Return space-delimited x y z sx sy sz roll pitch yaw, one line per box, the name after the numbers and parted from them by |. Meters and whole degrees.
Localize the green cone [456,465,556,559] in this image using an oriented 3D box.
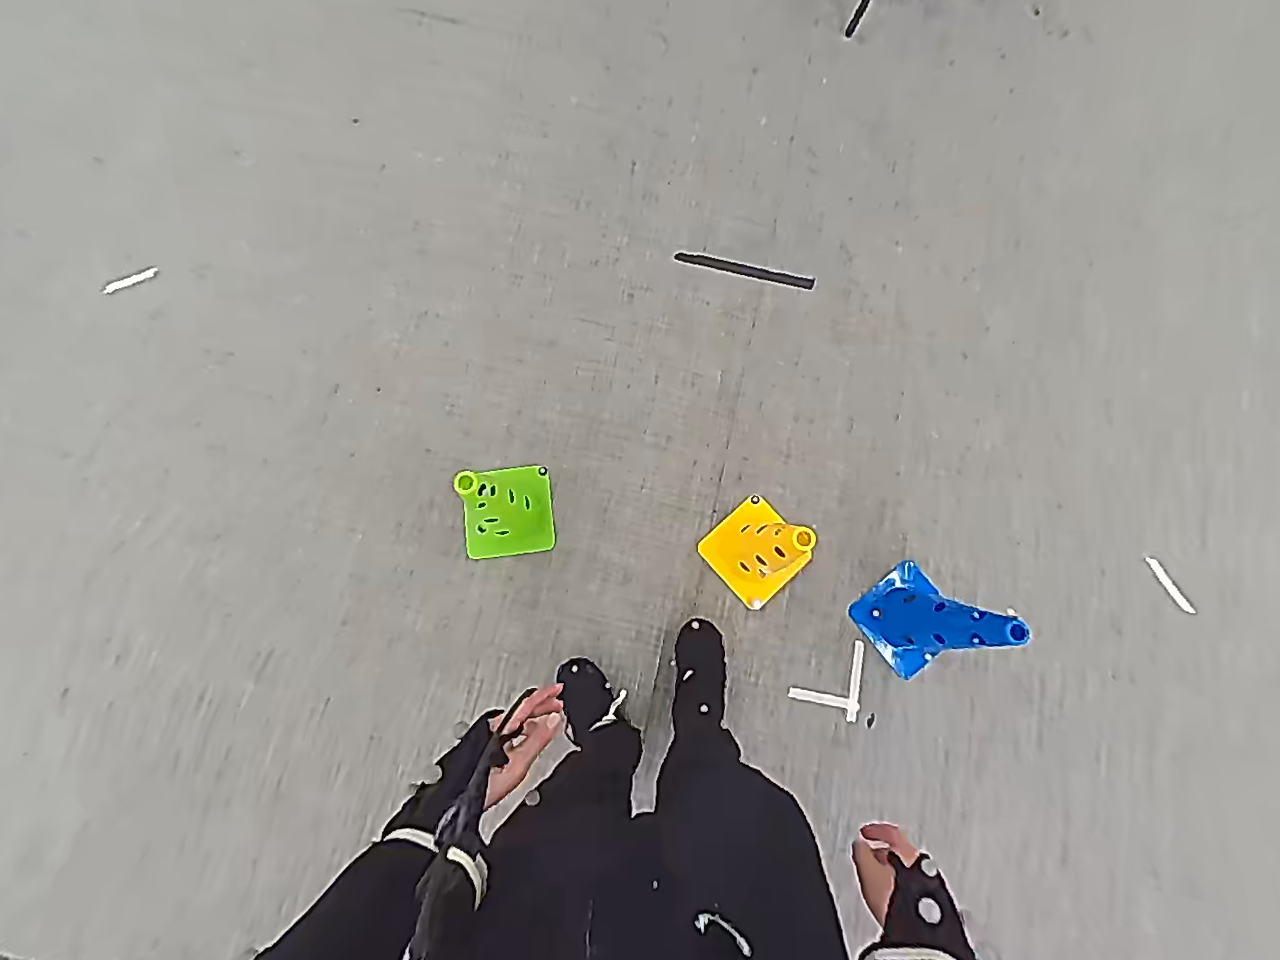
-0.297 0.041 1.076 0.200 0.368 0.202 -8 80 -3 | green cone
